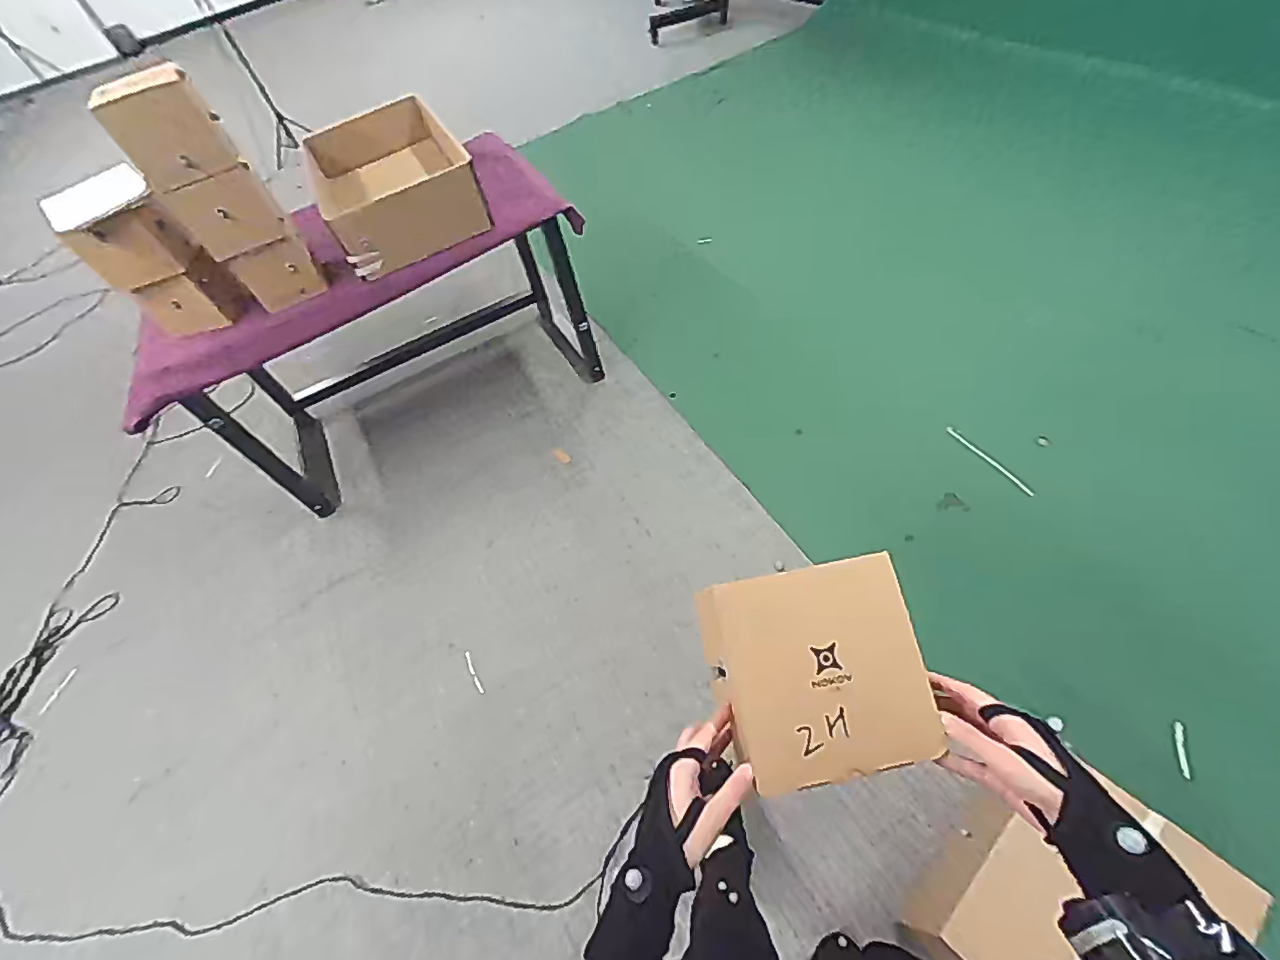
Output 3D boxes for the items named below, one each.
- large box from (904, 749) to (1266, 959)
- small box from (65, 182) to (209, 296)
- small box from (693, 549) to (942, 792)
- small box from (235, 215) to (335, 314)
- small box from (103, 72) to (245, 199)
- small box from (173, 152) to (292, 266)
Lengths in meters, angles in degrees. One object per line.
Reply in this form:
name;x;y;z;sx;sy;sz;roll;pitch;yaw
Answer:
large box;0.744;0.779;0.960;0.408;0.320;0.320;-41;58;-19
small box;-1.198;-0.578;1.306;0.179;0.176;0.168;-18;54;-1
small box;0.155;0.179;0.541;0.168;0.176;0.179;-11;76;-3
small box;-0.951;-0.573;1.455;0.168;0.176;0.179;-27;53;-9
small box;-1.005;-0.754;1.186;0.179;0.176;0.168;-27;53;-10
small box;-0.979;-0.657;1.317;0.179;0.176;0.168;-28;53;-10
